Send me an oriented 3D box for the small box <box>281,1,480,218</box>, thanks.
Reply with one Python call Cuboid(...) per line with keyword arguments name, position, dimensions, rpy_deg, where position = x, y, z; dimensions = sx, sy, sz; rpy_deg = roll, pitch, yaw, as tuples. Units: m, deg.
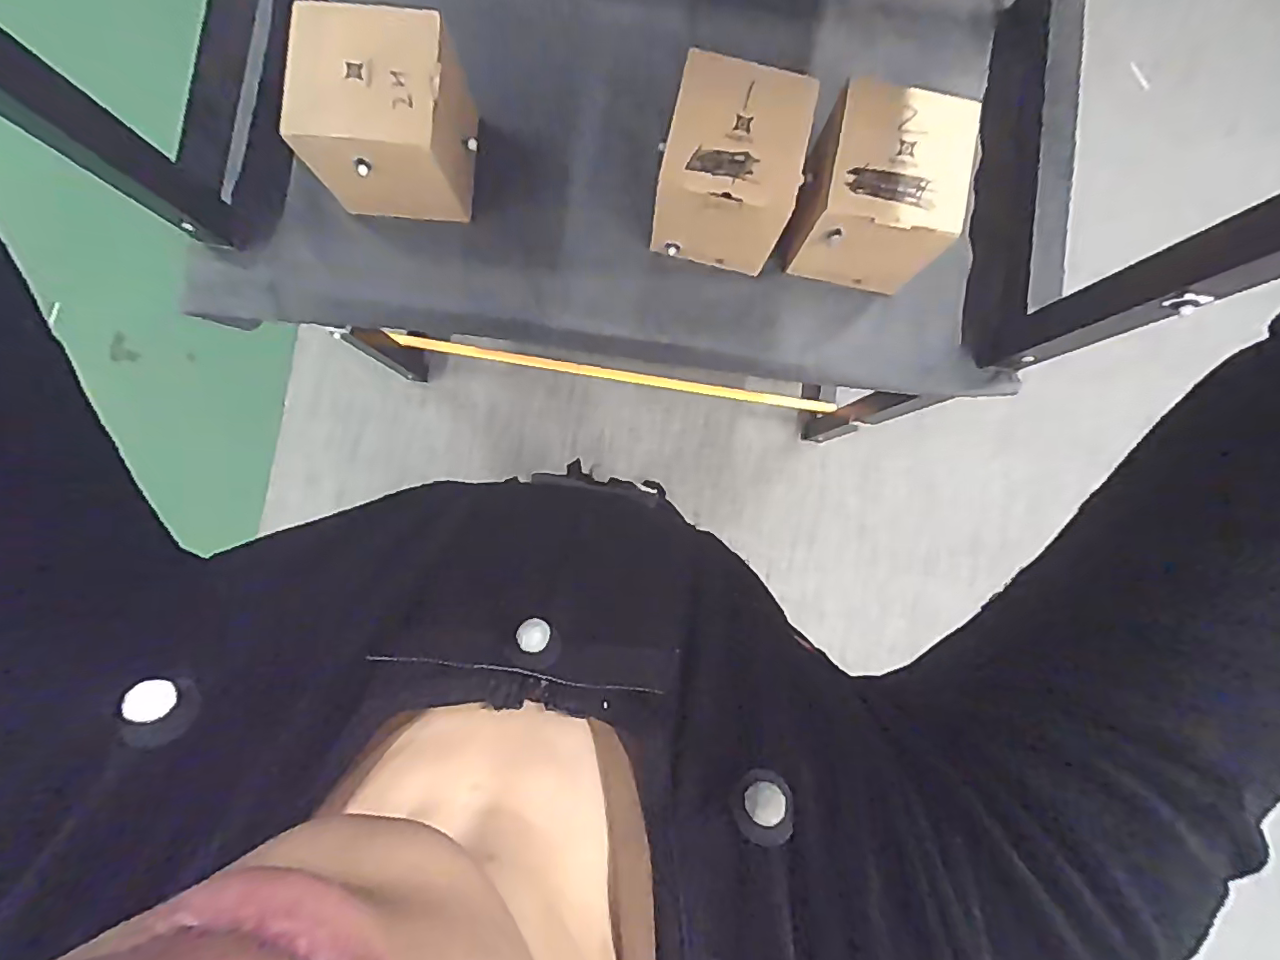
Cuboid(name="small box", position=(-0.325, -0.469, 0.710), dimensions=(0.179, 0.176, 0.168), rpy_deg=(4, 87, -2))
